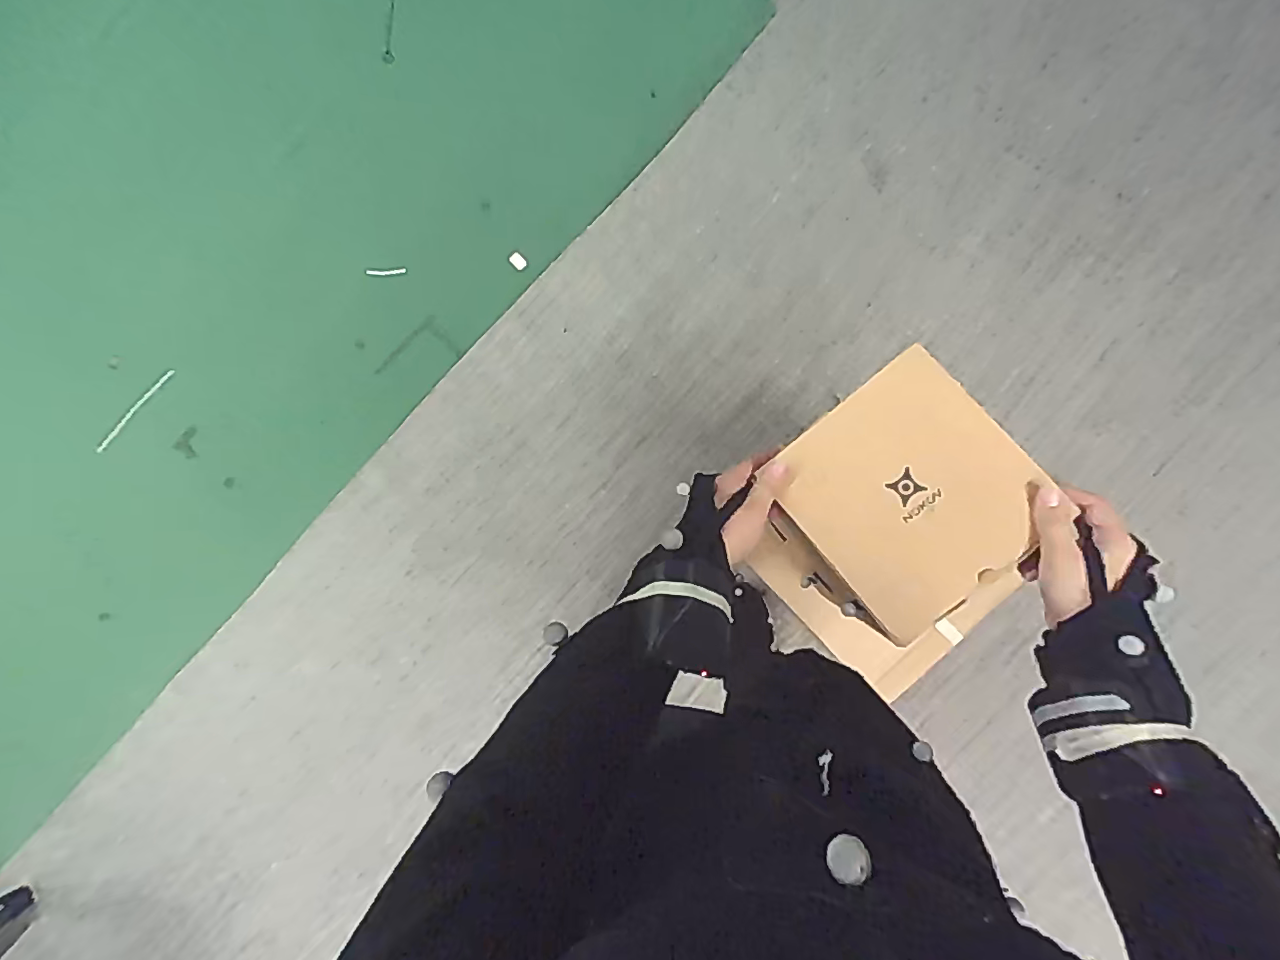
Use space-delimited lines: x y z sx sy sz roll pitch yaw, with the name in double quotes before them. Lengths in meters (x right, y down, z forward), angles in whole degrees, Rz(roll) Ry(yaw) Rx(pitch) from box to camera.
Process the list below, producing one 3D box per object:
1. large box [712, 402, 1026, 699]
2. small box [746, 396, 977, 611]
"large box" 0.385 0.121 1.032 0.320 0.320 0.408 -44 80 3
"small box" 0.246 0.032 0.652 0.179 0.176 0.168 -41 81 3
